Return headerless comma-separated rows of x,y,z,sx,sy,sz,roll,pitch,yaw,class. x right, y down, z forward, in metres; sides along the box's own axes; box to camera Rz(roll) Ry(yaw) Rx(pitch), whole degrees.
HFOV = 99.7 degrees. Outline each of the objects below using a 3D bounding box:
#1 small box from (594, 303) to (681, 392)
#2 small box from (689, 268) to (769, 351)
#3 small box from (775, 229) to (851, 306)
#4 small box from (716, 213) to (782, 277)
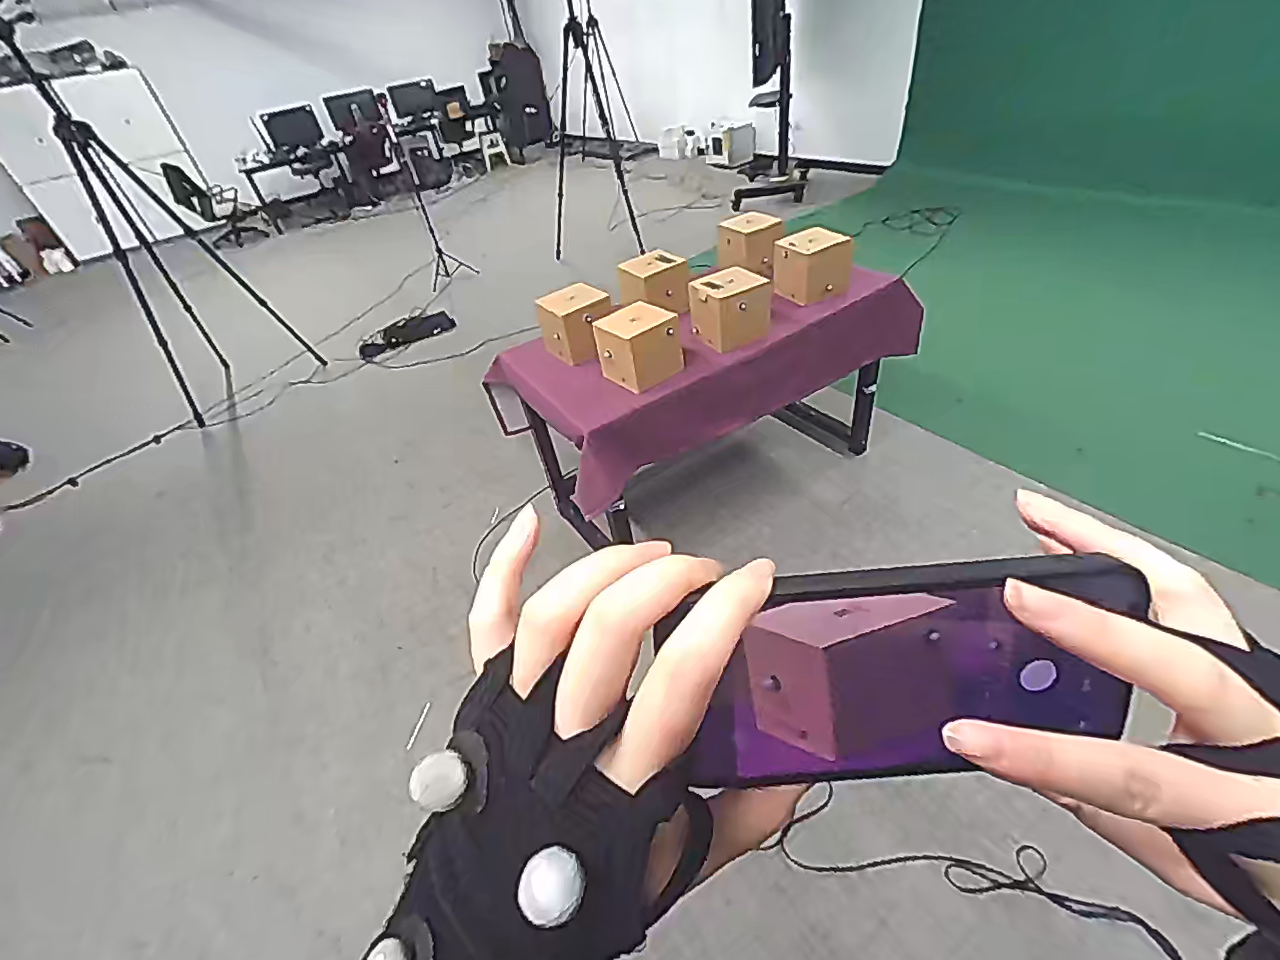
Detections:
-0.001,-0.369,1.507,0.179,0.176,0.168,-32,45,-25,small box
0.265,-0.504,1.603,0.179,0.176,0.168,-24,42,-16,small box
0.551,-0.688,1.751,0.179,0.176,0.168,-23,42,-15,small box
0.394,-0.849,1.969,0.168,0.176,0.179,-27,44,-17,small box
